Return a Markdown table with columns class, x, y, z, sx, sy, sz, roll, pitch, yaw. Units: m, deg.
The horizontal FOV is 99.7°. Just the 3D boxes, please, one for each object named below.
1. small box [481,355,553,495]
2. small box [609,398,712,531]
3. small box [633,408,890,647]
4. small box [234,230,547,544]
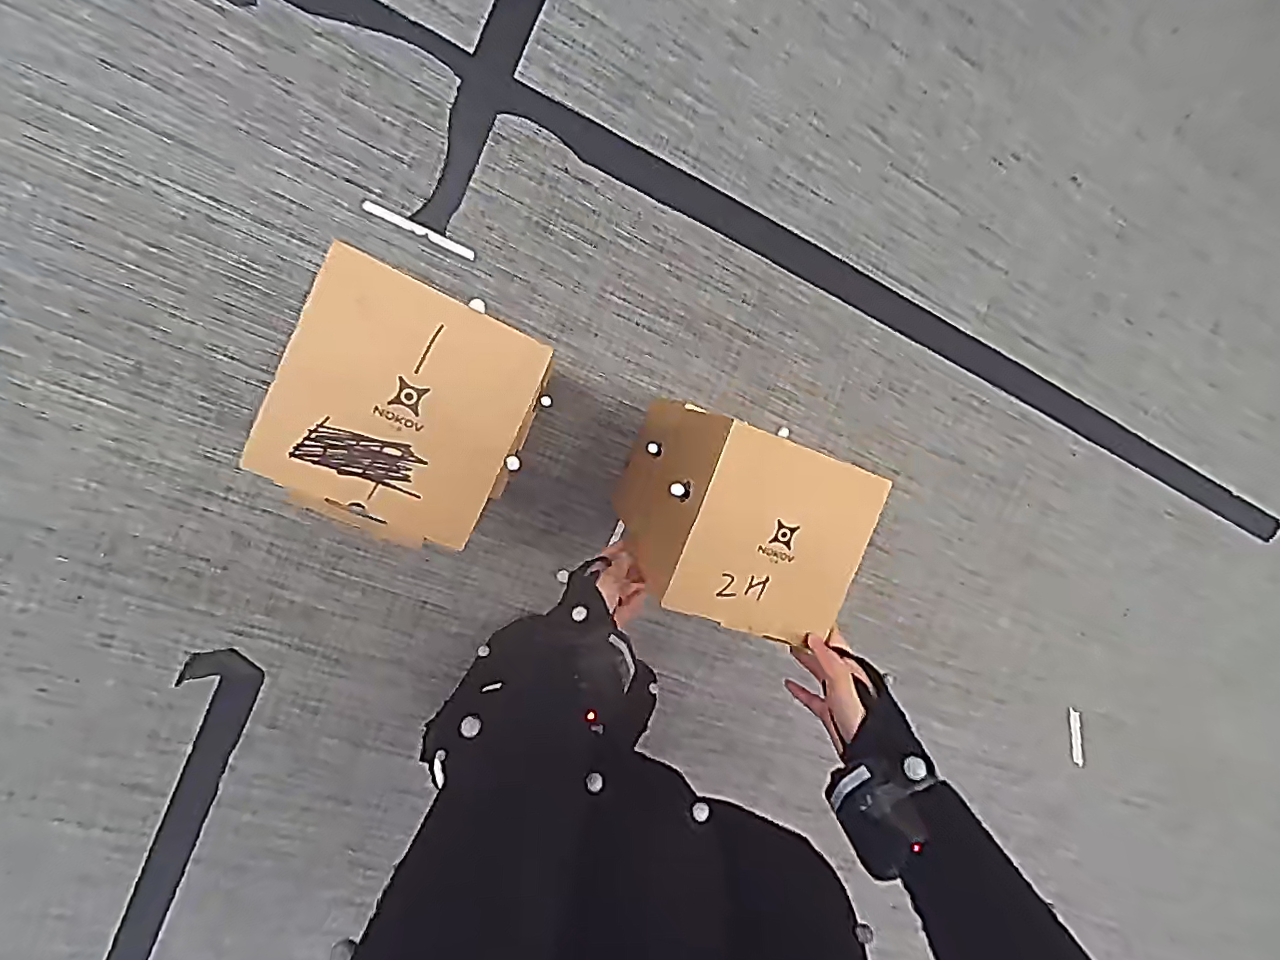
| class | x | y | z | sx | sy | sz | roll | pitch | yaw |
| --- | --- | --- | --- | --- | --- | --- | --- | --- | --- |
| small box | -0.215 | -0.102 | 0.625 | 0.179 | 0.176 | 0.168 | 22 | 96 | -15 |
| small box | 0.077 | -0.002 | 0.706 | 0.179 | 0.176 | 0.168 | 22 | 95 | -16 |
| small box | 0.104 | 0.034 | 0.546 | 0.168 | 0.176 | 0.179 | 20 | 96 | -13 |
| small box | -0.191 | -0.073 | 0.465 | 0.168 | 0.176 | 0.179 | 25 | 93 | -16 |
